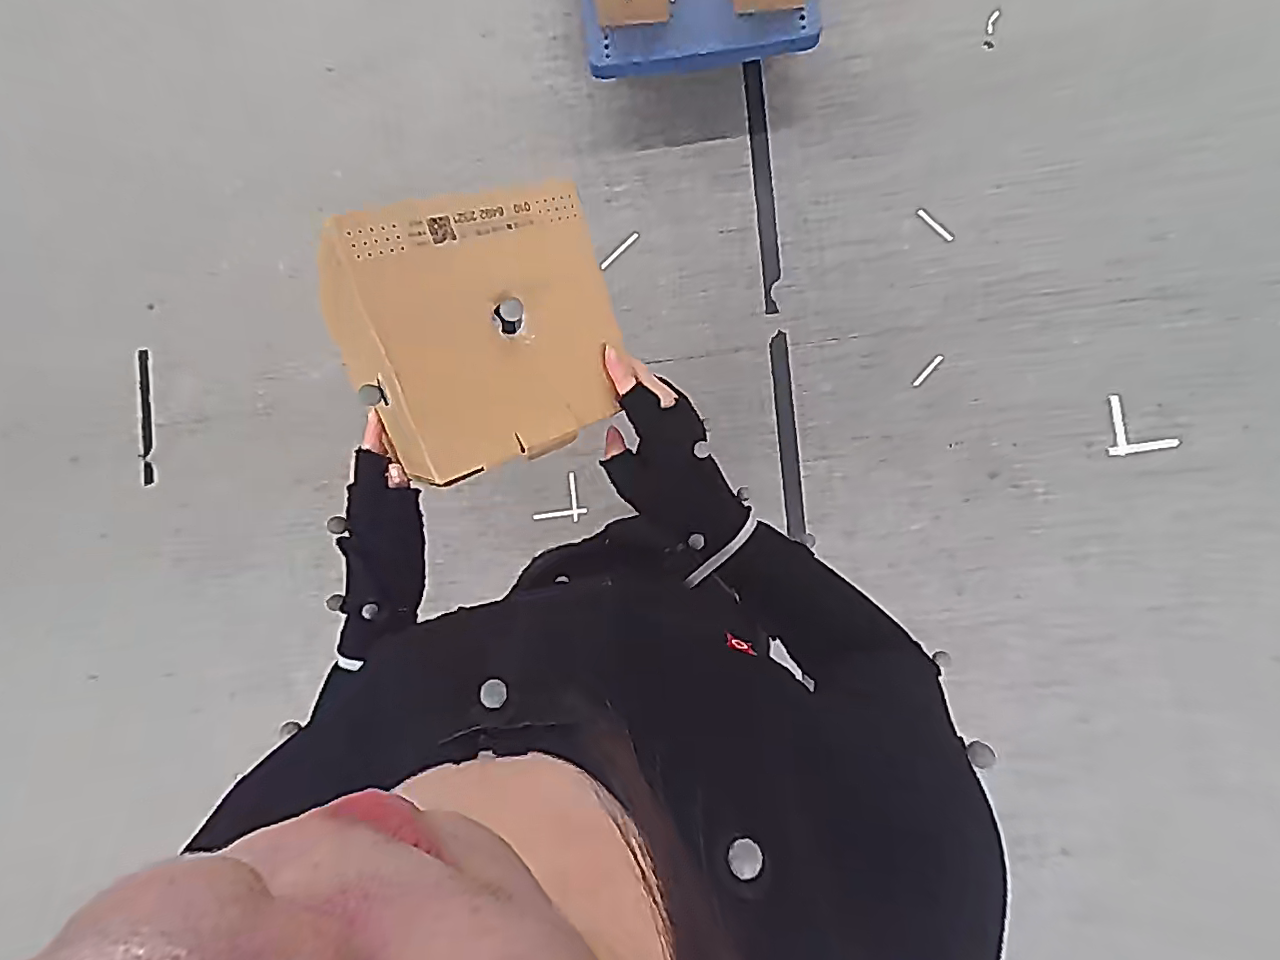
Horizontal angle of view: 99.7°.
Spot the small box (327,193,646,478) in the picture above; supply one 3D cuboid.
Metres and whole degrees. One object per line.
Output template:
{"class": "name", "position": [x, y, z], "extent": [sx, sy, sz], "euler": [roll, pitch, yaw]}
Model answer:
{"class": "small box", "position": [-0.127, -0.114, 0.432], "extent": [0.168, 0.179, 0.176], "euler": [-26, 107, -28]}

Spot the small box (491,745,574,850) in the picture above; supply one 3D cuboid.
{"class": "small box", "position": [-0.278, 0.833, 1.429], "extent": [0.168, 0.176, 0.179], "euler": [-8, 89, 4]}

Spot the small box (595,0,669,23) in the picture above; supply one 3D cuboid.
{"class": "small box", "position": [-0.021, -1.205, 1.247], "extent": [0.179, 0.176, 0.168], "euler": [-2, 89, 4]}
